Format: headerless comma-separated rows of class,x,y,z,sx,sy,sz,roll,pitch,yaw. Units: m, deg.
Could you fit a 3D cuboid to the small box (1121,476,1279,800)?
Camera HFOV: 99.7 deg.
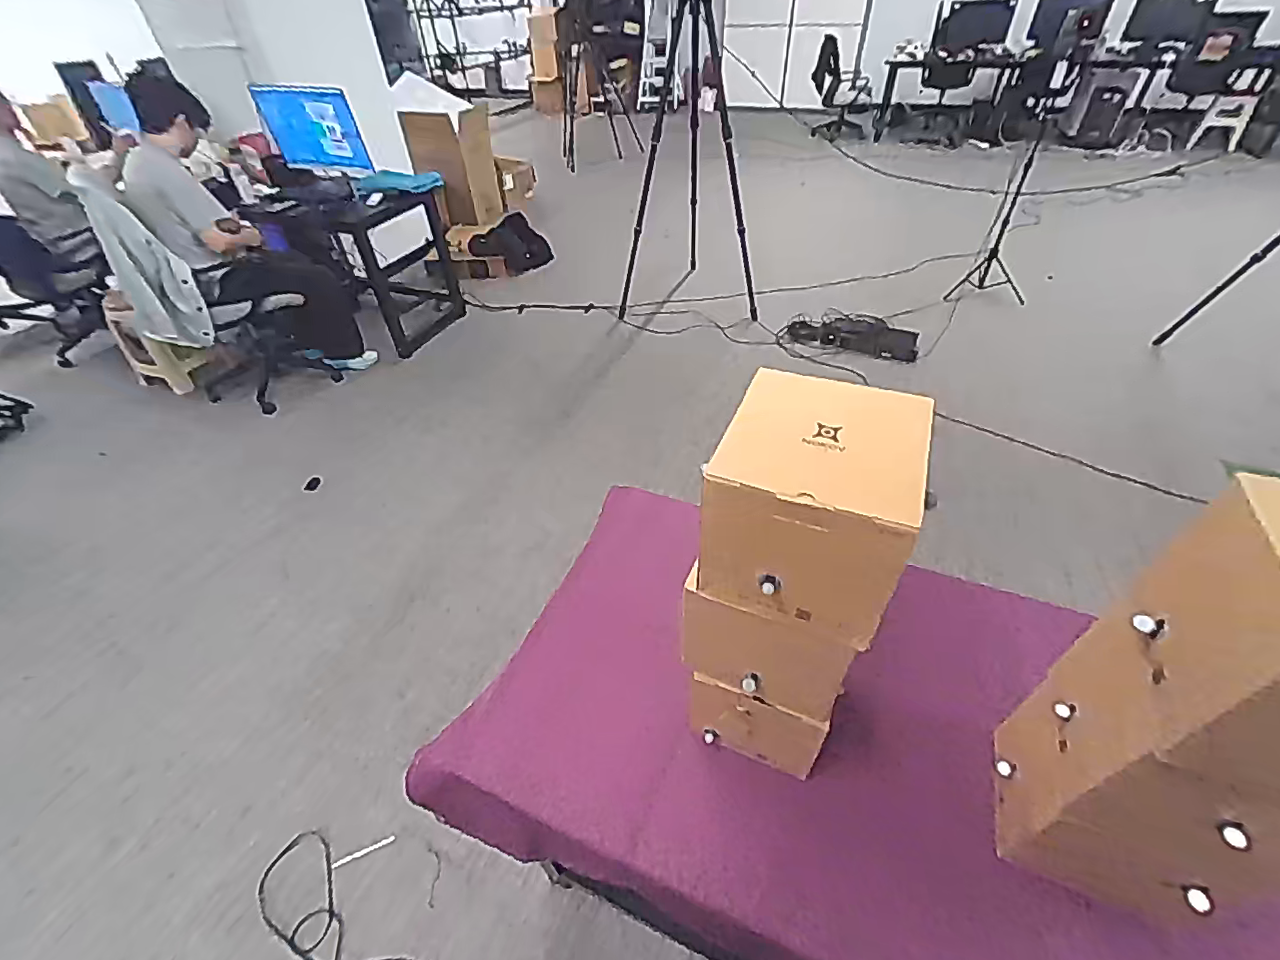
small box,0.504,0.128,0.387,0.179,0.176,0.168,15,45,20

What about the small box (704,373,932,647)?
small box,0.164,0.025,0.523,0.168,0.176,0.179,15,47,19

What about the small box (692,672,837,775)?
small box,0.177,0.268,0.743,0.168,0.176,0.179,16,45,19

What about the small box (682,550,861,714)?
small box,0.159,0.145,0.634,0.179,0.176,0.168,17,46,19

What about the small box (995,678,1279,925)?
small box,0.536,0.364,0.613,0.179,0.176,0.168,16,46,20
